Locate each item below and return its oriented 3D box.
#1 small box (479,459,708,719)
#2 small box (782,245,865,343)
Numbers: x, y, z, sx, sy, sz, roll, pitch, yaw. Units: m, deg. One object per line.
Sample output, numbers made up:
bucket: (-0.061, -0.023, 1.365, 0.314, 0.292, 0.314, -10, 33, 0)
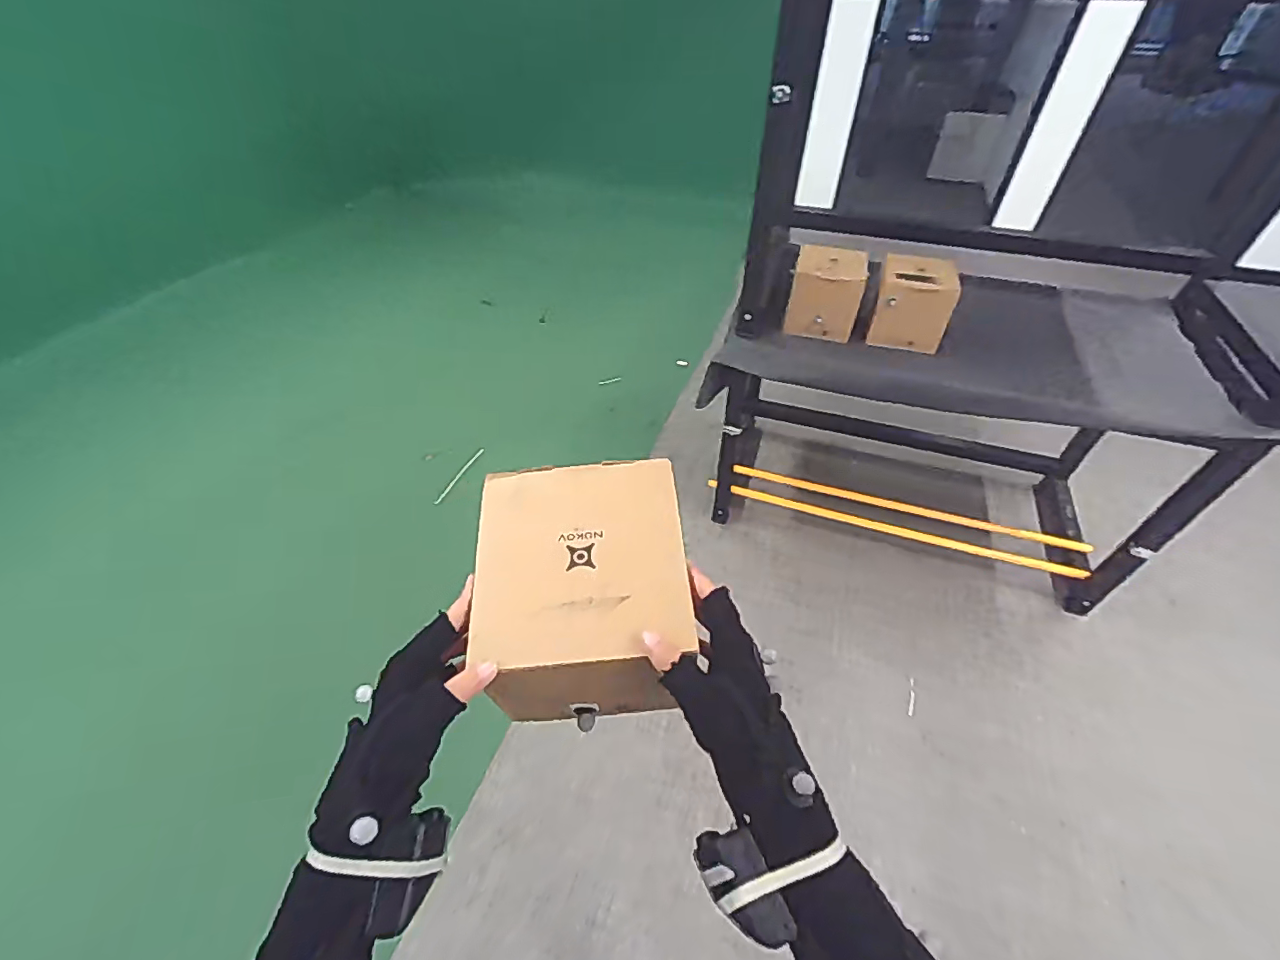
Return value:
small box: (-0.037, 0.102, 0.493, 0.168, 0.176, 0.179, -4, 55, -1)
small box: (0.472, -0.481, 1.399, 0.168, 0.176, 0.179, 13, 47, 12)
